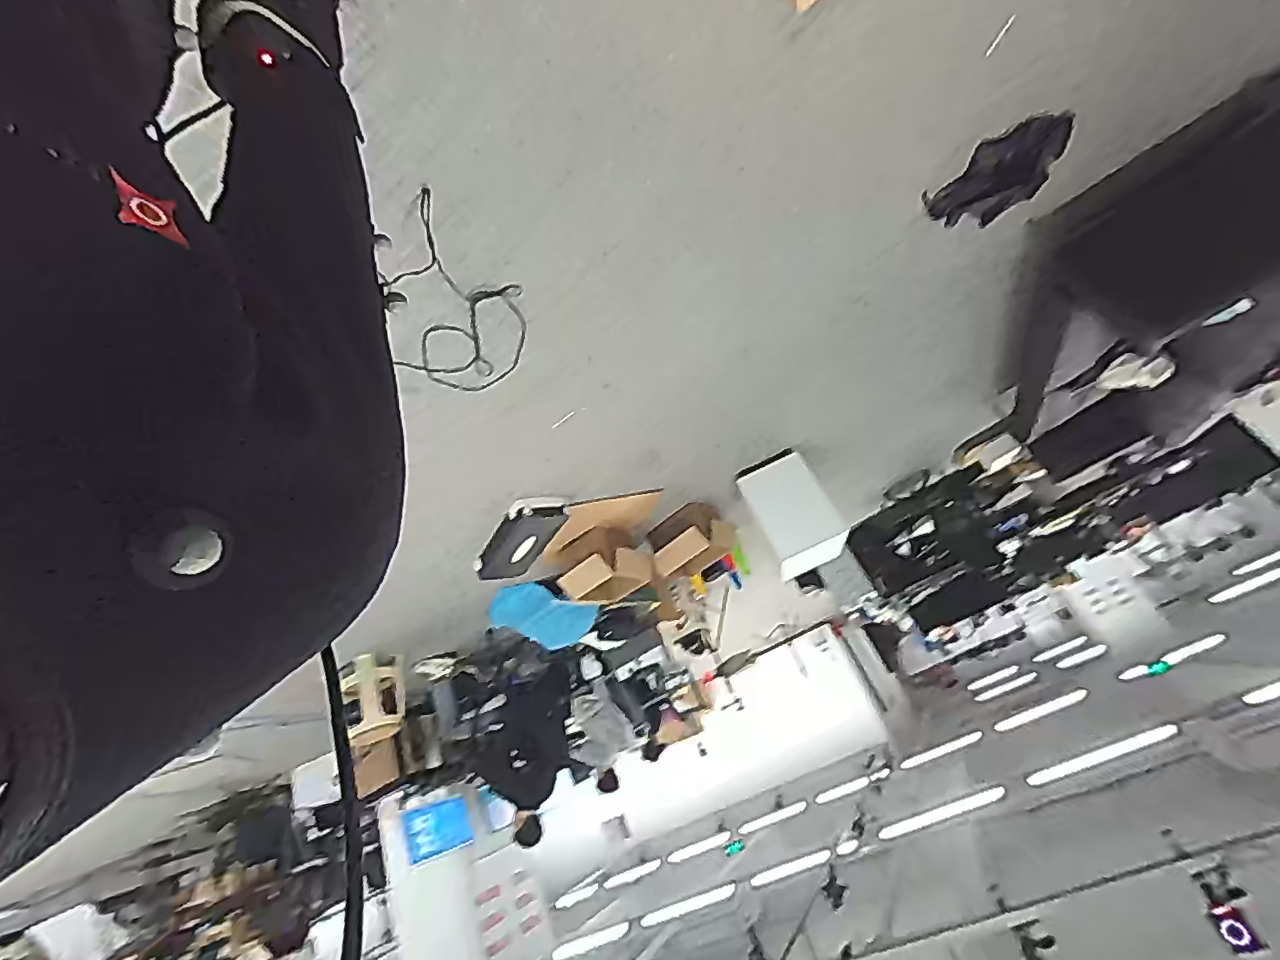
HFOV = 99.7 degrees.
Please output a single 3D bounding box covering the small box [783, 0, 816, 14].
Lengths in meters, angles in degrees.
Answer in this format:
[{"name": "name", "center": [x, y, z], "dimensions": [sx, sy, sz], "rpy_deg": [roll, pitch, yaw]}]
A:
[{"name": "small box", "center": [0.312, -1.050, 1.010], "dimensions": [0.179, 0.176, 0.168], "rpy_deg": [-34, 153, 18]}]
